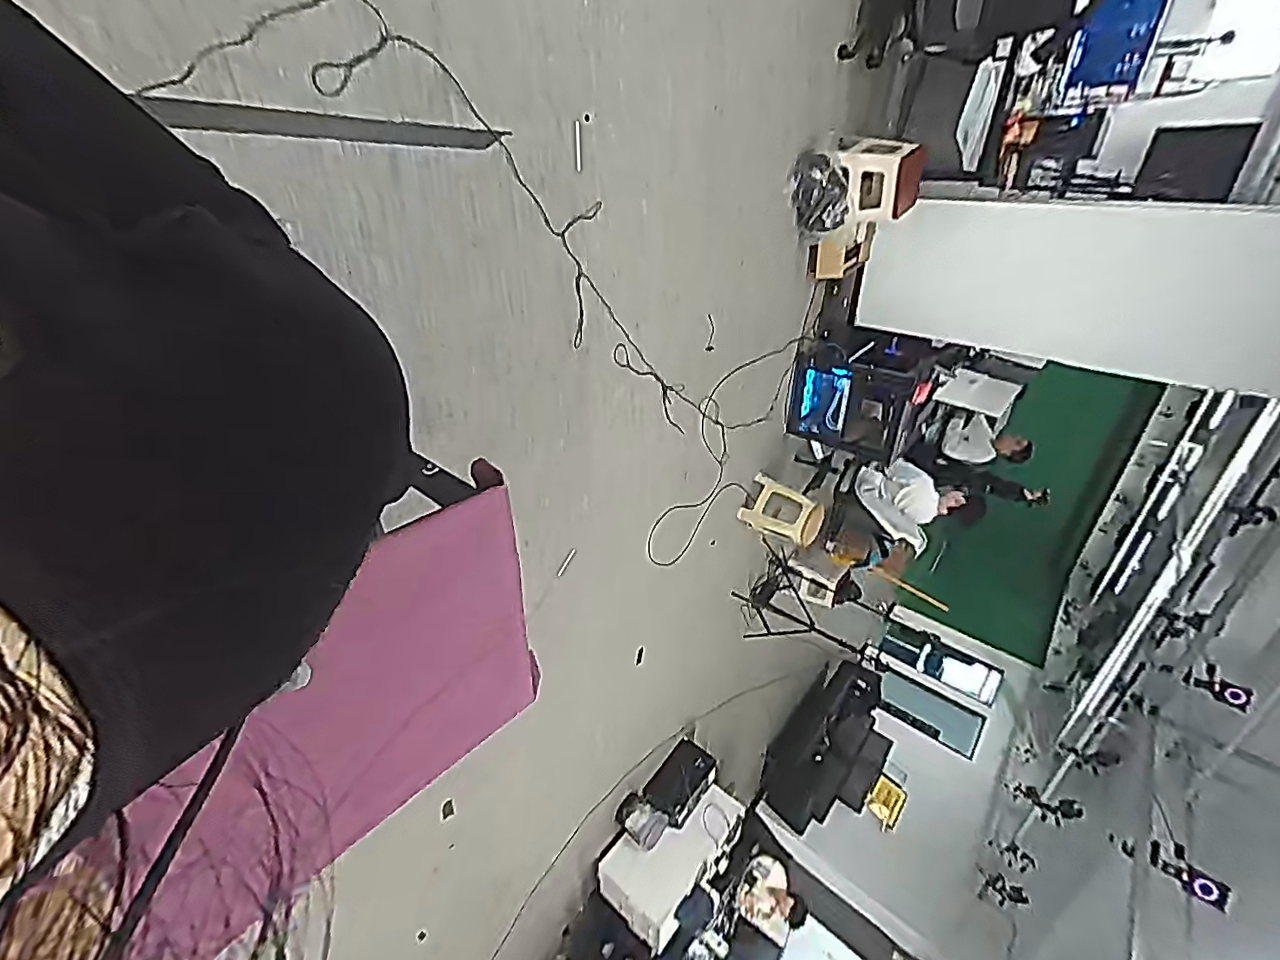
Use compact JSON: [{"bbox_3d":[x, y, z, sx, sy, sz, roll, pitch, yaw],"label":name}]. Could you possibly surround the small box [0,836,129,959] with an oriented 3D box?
[{"bbox_3d":[-0.715,0.558,0.602,0.179,0.176,0.168,-31,133,-41],"label":"small box"}]
